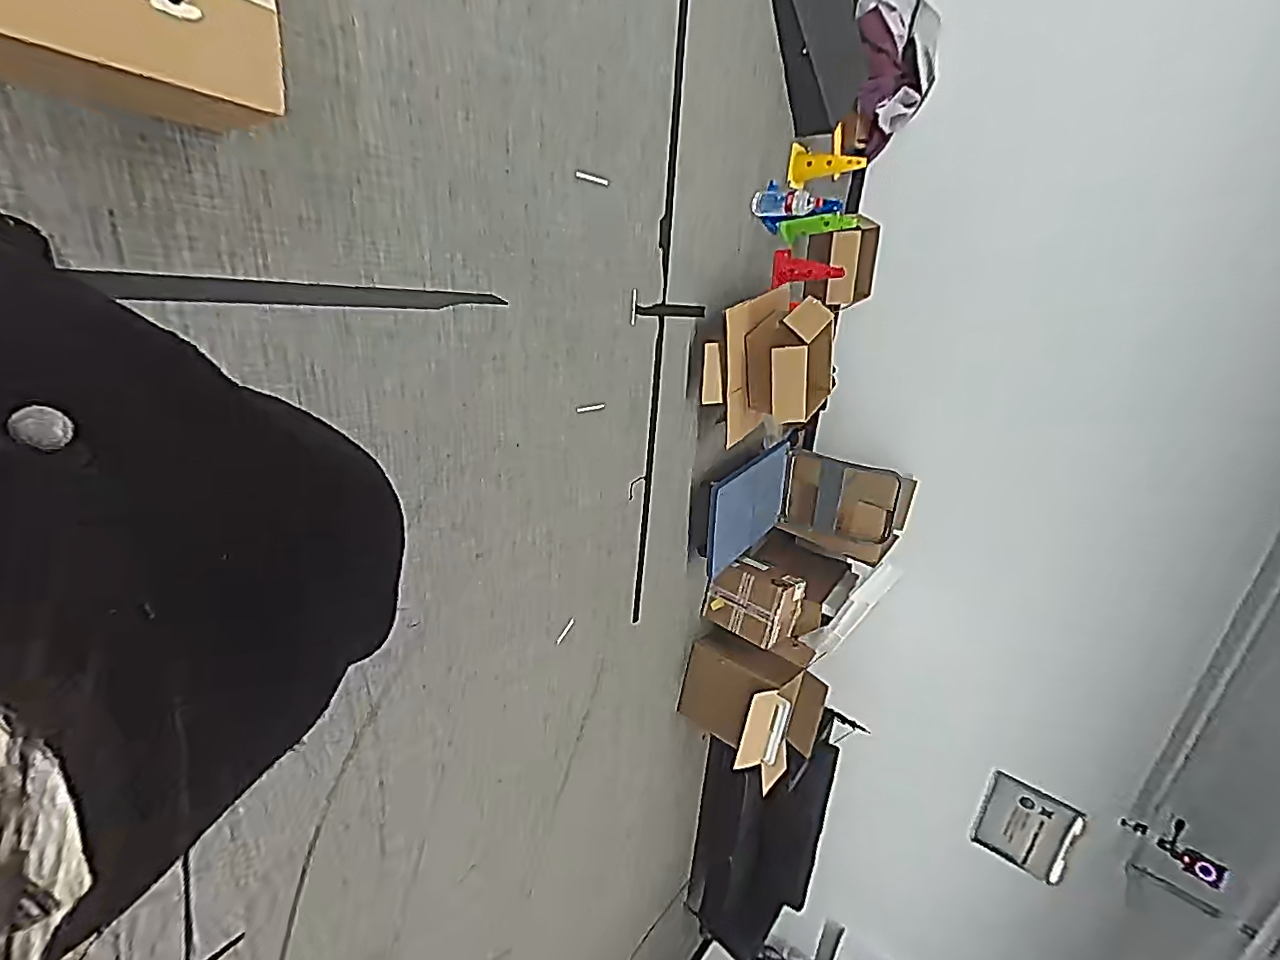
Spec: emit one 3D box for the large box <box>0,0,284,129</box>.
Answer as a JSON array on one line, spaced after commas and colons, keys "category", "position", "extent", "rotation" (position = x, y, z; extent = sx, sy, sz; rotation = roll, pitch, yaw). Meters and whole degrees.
[{"category": "large box", "position": [-0.831, -0.769, 0.805], "extent": [0.408, 0.320, 0.320], "rotation": [-17, 119, -50]}]
